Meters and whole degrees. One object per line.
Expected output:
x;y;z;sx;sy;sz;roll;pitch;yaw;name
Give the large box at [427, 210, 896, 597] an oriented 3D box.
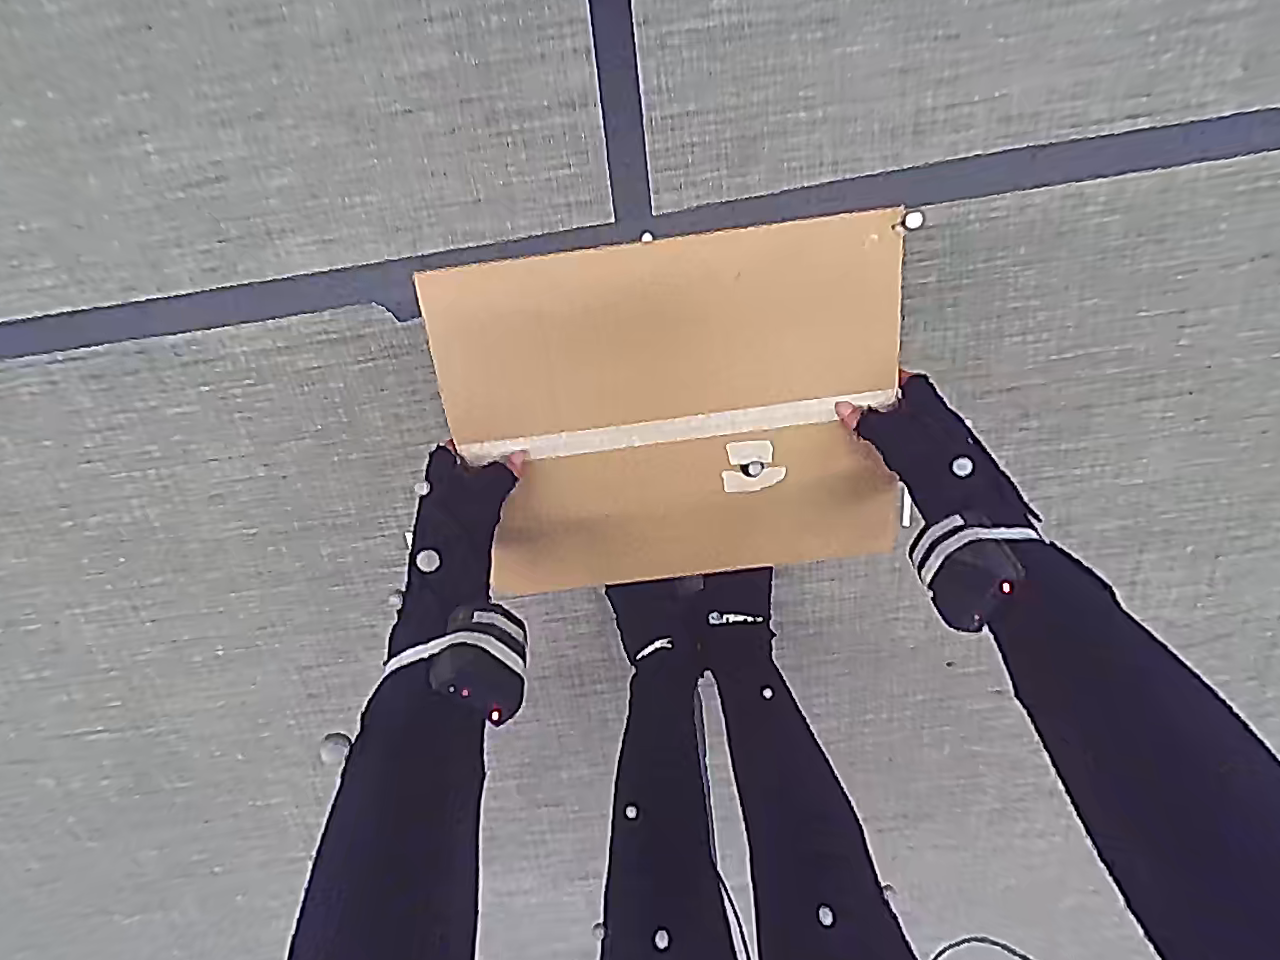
0.031;-0.098;0.638;0.408;0.320;0.320;-8;110;1;large box
